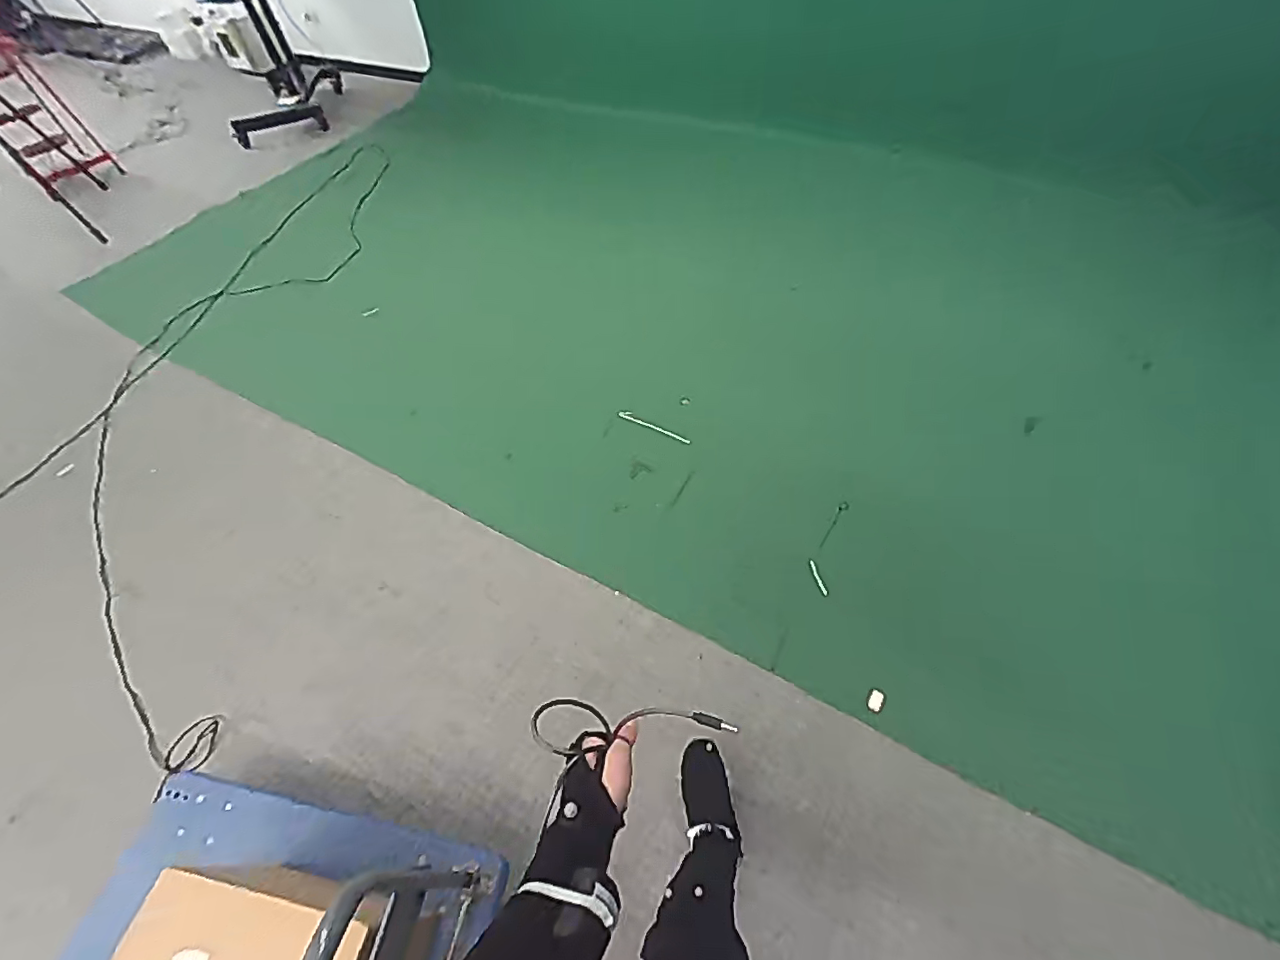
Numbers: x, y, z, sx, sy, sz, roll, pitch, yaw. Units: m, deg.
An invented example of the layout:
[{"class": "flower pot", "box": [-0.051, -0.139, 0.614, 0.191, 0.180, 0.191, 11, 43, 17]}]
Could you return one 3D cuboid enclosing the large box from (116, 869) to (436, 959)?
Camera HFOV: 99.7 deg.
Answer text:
[{"class": "large box", "box": [-0.646, 0.910, 0.943, 0.408, 0.320, 0.320, 7, 55, 11]}]
